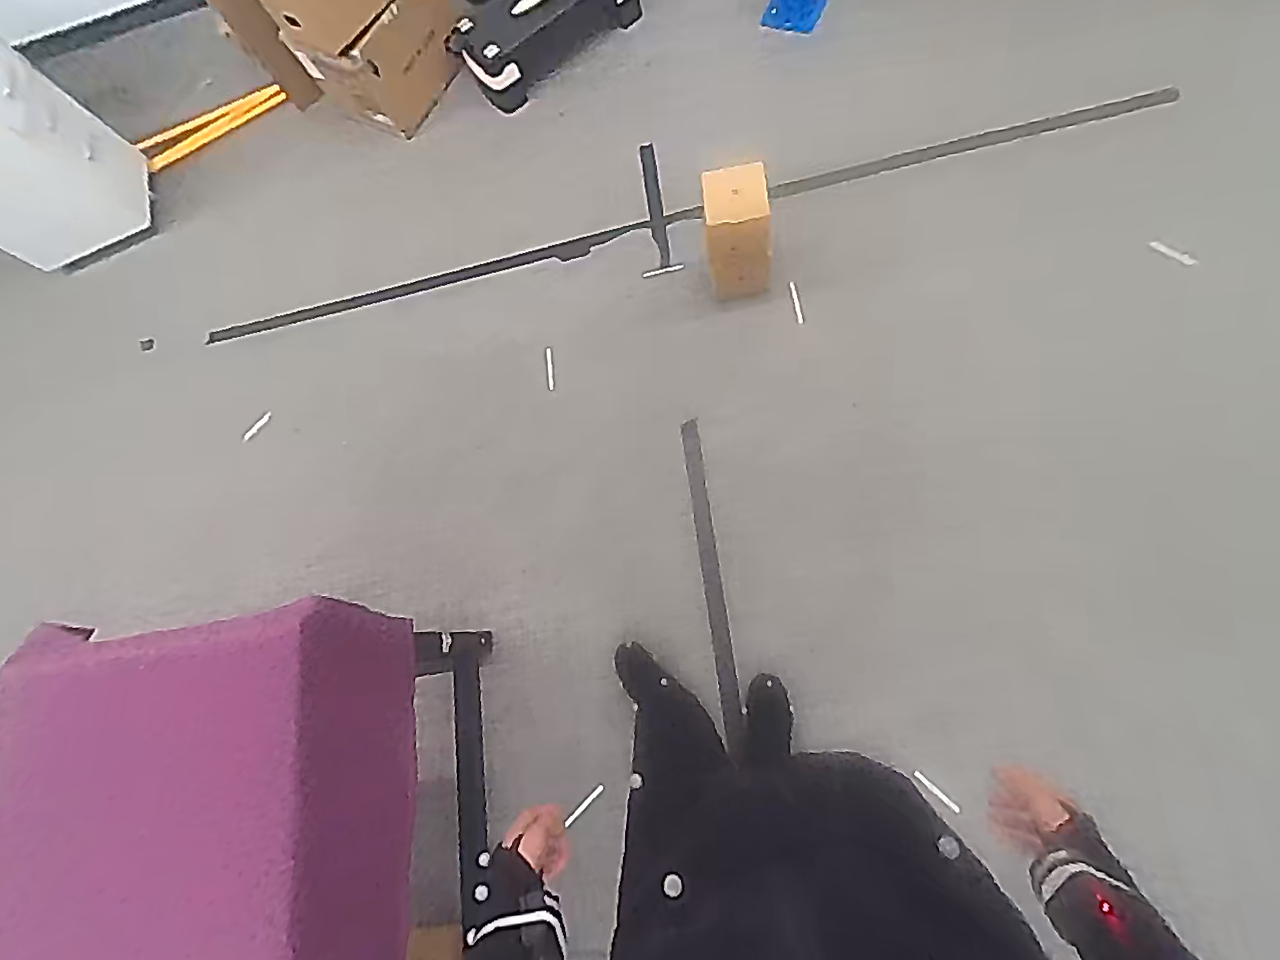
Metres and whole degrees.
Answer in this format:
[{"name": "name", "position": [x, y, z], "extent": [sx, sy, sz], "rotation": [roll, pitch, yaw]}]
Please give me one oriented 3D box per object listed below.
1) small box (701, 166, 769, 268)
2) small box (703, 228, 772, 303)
[{"name": "small box", "position": [0.259, -0.721, 1.496], "extent": [0.168, 0.176, 0.179], "rotation": [-6, 75, 8]}, {"name": "small box", "position": [0.294, -0.667, 1.646], "extent": [0.179, 0.176, 0.168], "rotation": [-11, 73, 8]}]
